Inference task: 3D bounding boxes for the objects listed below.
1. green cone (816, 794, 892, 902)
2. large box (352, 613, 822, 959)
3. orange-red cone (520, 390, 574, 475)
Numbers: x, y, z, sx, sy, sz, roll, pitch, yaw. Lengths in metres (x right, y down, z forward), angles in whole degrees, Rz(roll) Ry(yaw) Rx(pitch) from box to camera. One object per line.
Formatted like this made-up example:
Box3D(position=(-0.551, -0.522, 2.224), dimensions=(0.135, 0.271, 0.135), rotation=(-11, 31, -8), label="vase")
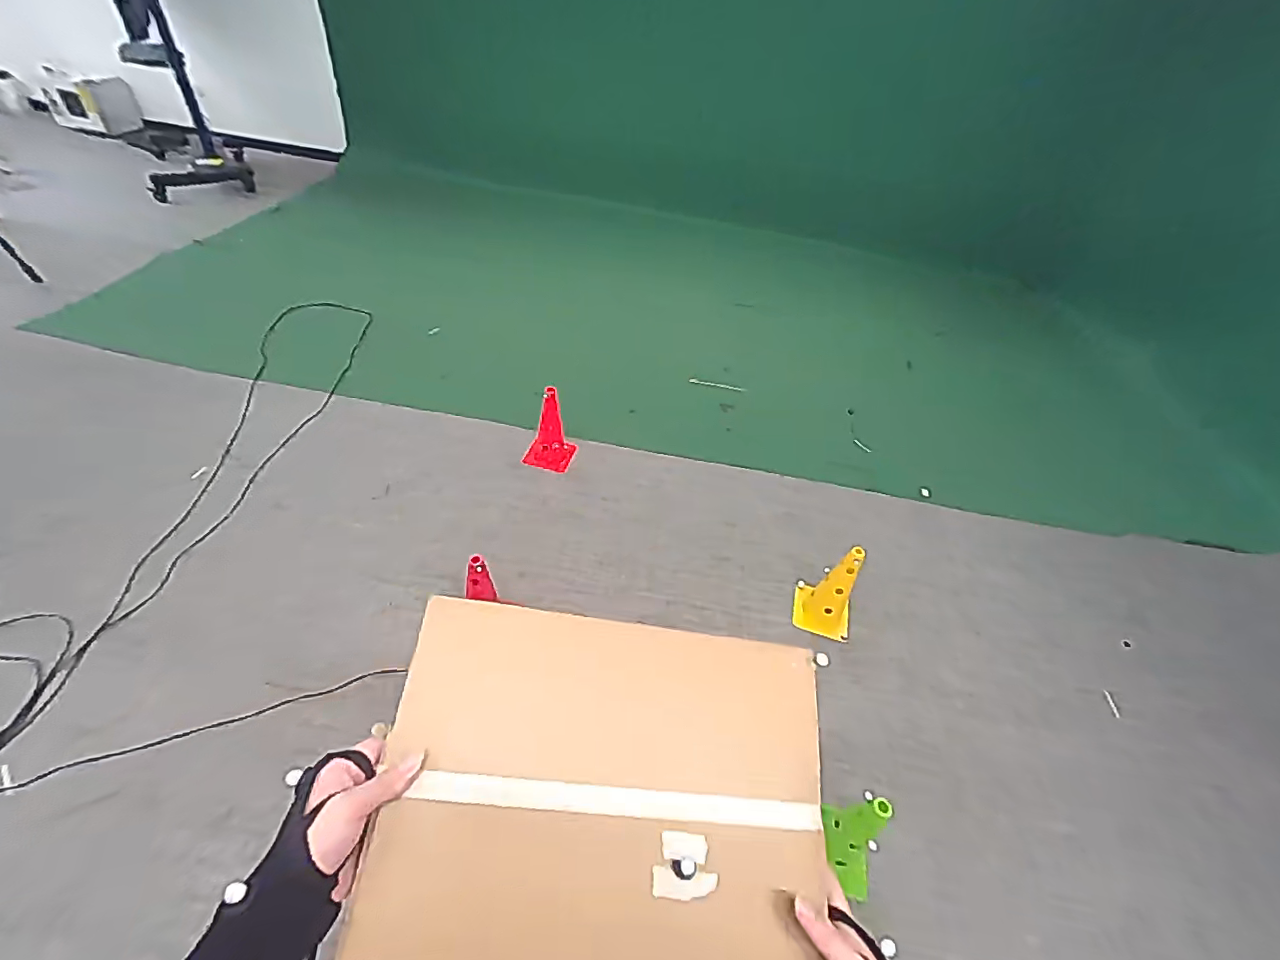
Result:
Box3D(position=(0.529, 0.865, 1.335), dimensions=(0.200, 0.368, 0.202), rotation=(15, 42, 5), label="green cone")
Box3D(position=(-0.055, 0.360, 0.627), dimensions=(0.408, 0.320, 0.320), rotation=(11, 65, -10), label="large box")
Box3D(position=(-0.394, -0.226, 2.298), dimensions=(0.199, 0.360, 0.198), rotation=(14, 43, 7), label="orange-red cone")
